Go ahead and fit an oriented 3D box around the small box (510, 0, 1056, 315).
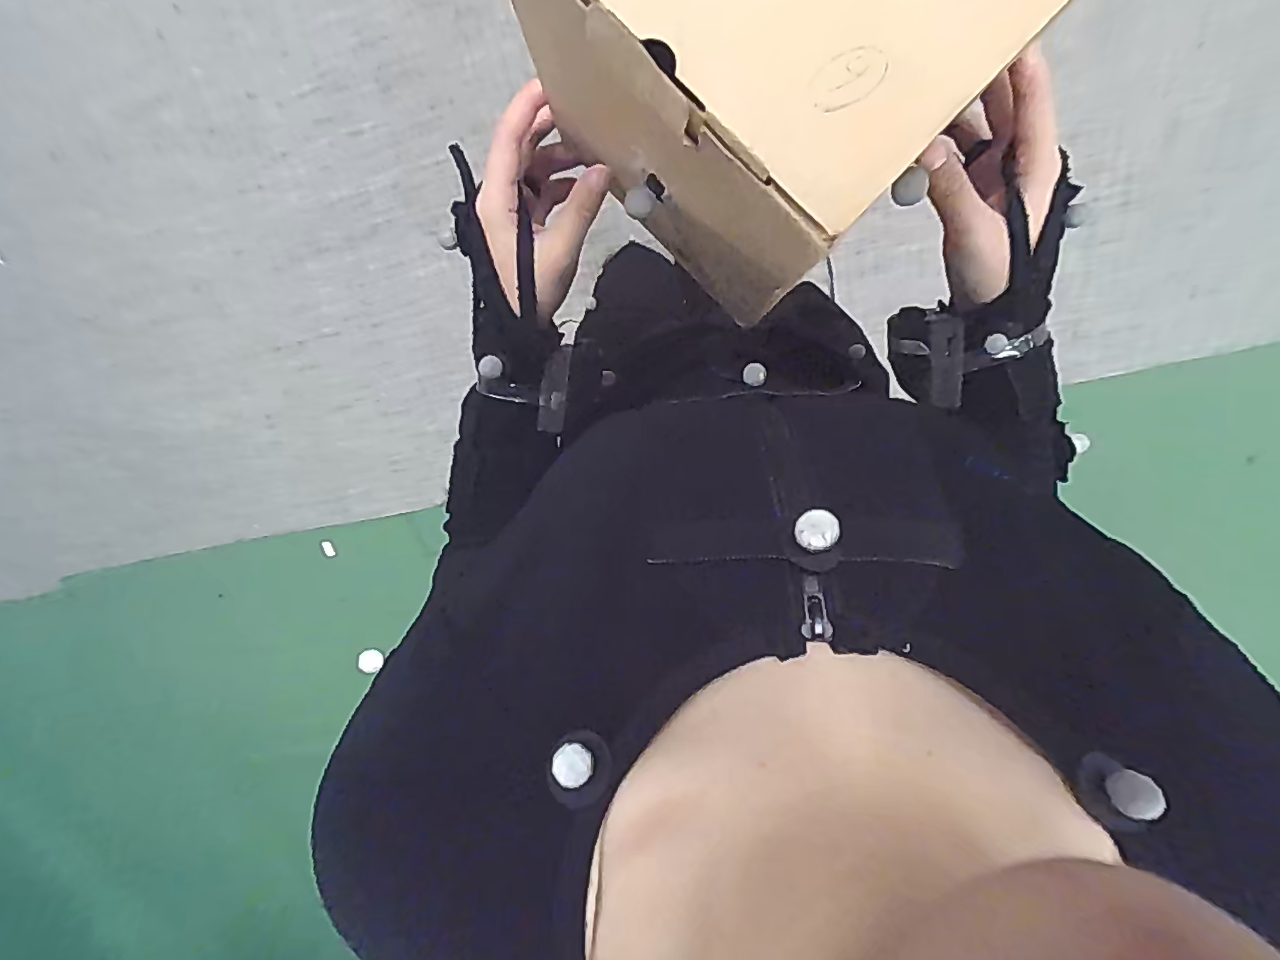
[{"bbox_3d":[0.066,-0.207,0.260,0.168,0.176,0.179,44,97,-2],"label":"small box"}]
